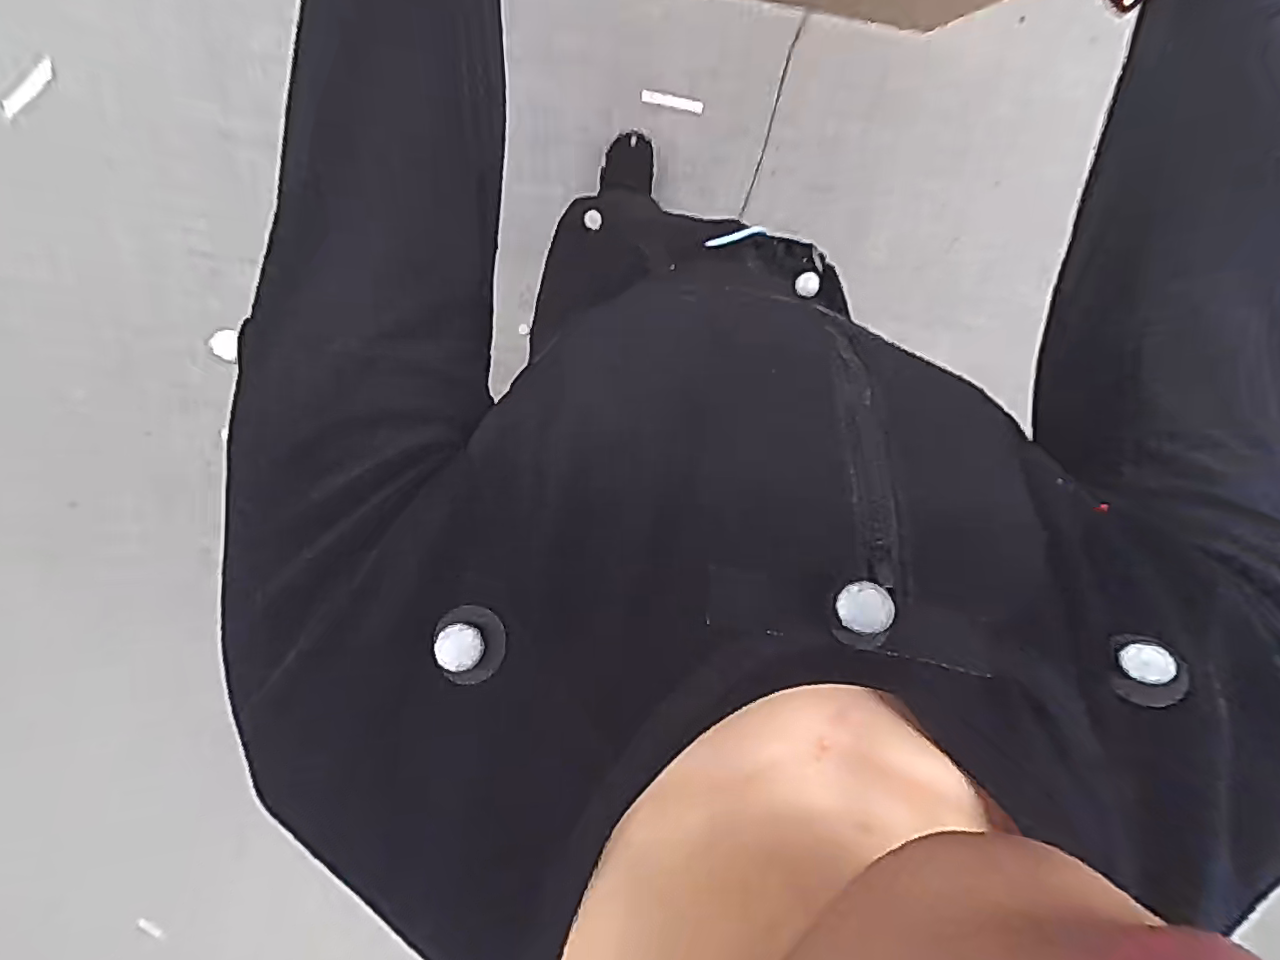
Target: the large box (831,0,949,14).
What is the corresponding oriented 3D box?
[{"bbox_3d":[0.140,-0.586,0.382,0.408,0.320,0.320,9,120,-3],"label":"large box"}]
